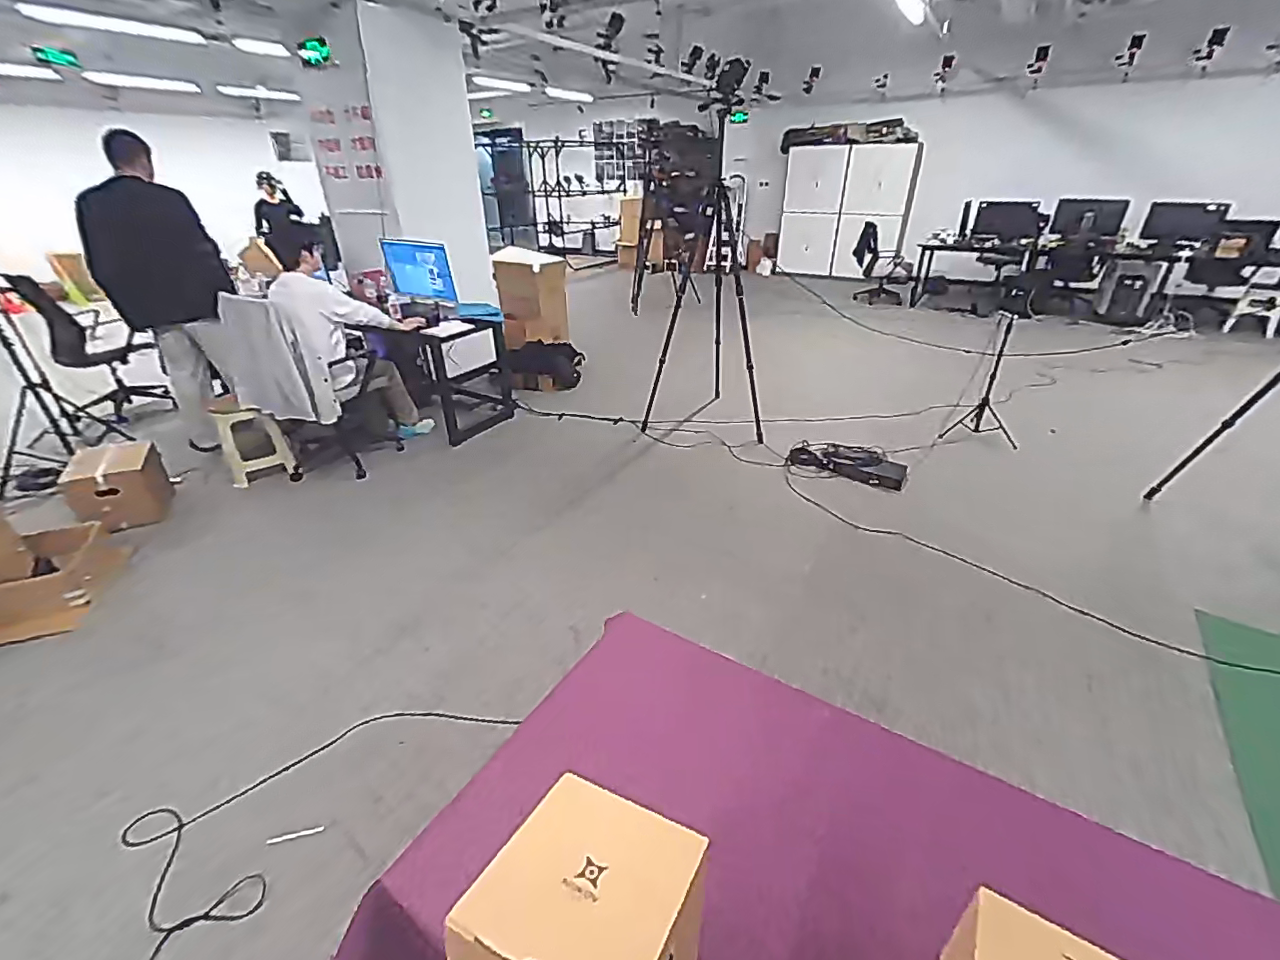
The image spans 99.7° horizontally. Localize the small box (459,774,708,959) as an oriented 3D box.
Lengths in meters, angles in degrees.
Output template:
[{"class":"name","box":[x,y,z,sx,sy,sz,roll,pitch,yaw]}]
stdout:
[{"class":"small box","box":[-0.049,0.433,0.510,0.168,0.176,0.179,10,18,25]}]
